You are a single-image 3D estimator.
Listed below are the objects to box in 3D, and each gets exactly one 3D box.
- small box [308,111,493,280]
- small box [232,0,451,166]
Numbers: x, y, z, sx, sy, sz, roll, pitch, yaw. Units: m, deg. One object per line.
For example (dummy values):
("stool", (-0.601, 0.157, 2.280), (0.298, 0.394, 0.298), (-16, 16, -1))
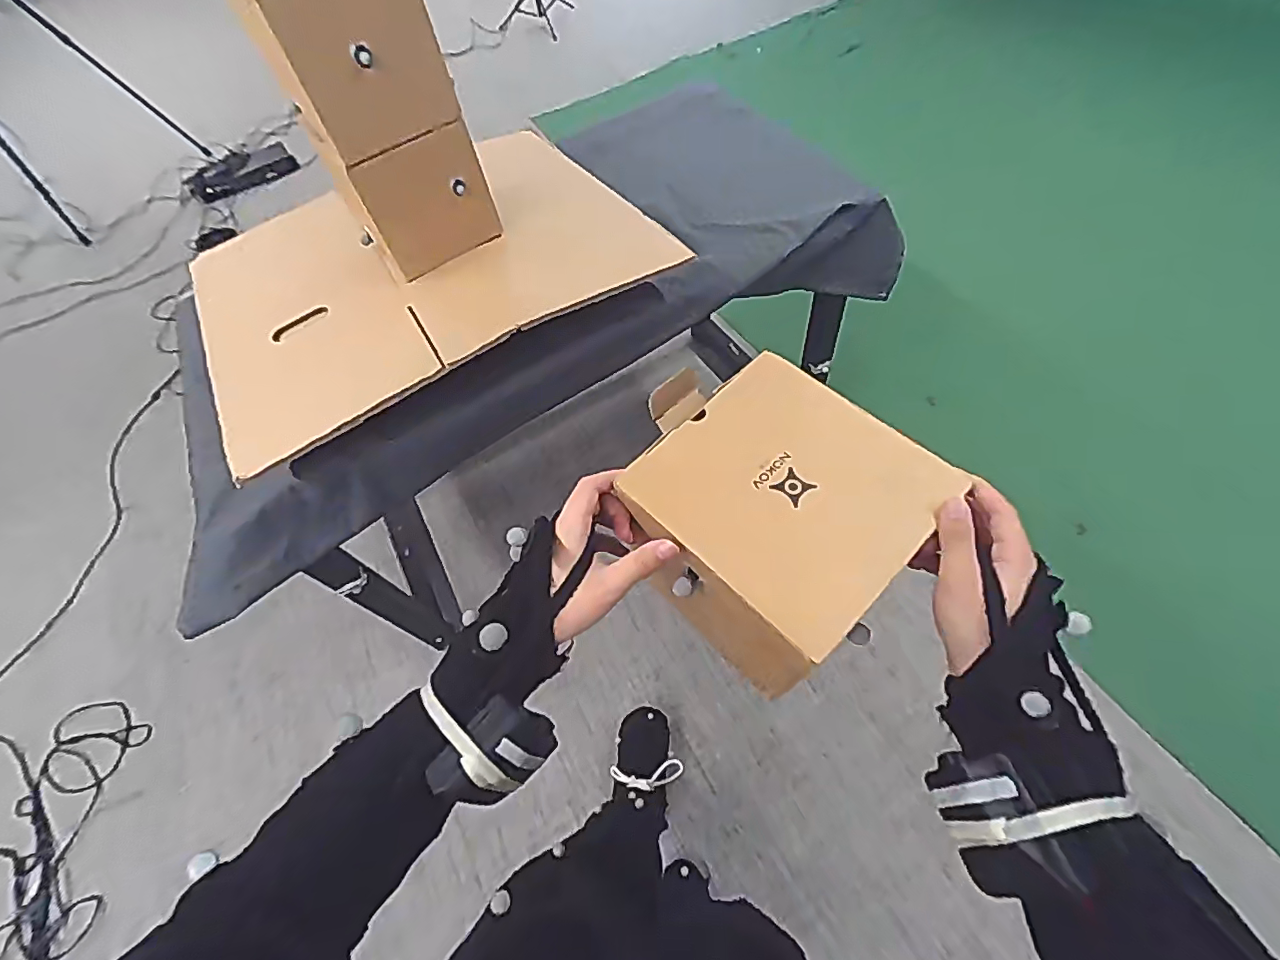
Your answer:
("small box", (-0.341, -0.436, 0.807), (0.179, 0.176, 0.168), (-37, 58, -16))
("small box", (-0.362, -0.531, 0.675), (0.179, 0.176, 0.168), (-37, 58, -16))
